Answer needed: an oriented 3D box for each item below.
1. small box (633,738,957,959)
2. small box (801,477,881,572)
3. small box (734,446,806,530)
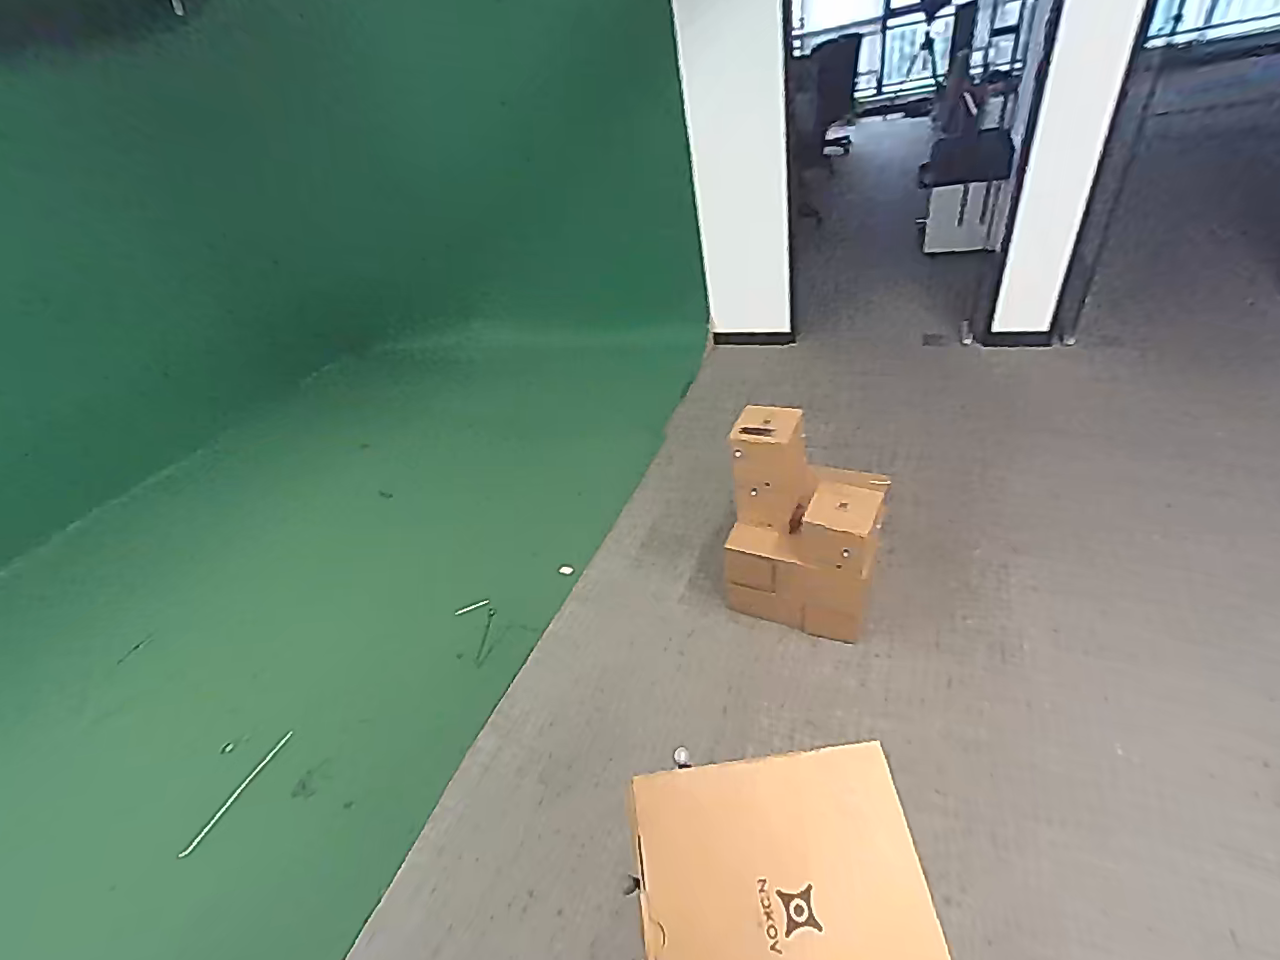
[{"bbox_3d":[0.091,0.291,0.394,0.179,0.176,0.168,-7,61,-4],"label":"small box"},{"bbox_3d":[0.547,0.123,1.476,0.168,0.176,0.179,14,45,29],"label":"small box"},{"bbox_3d":[0.399,0.022,1.649,0.168,0.176,0.179,12,43,30],"label":"small box"}]
